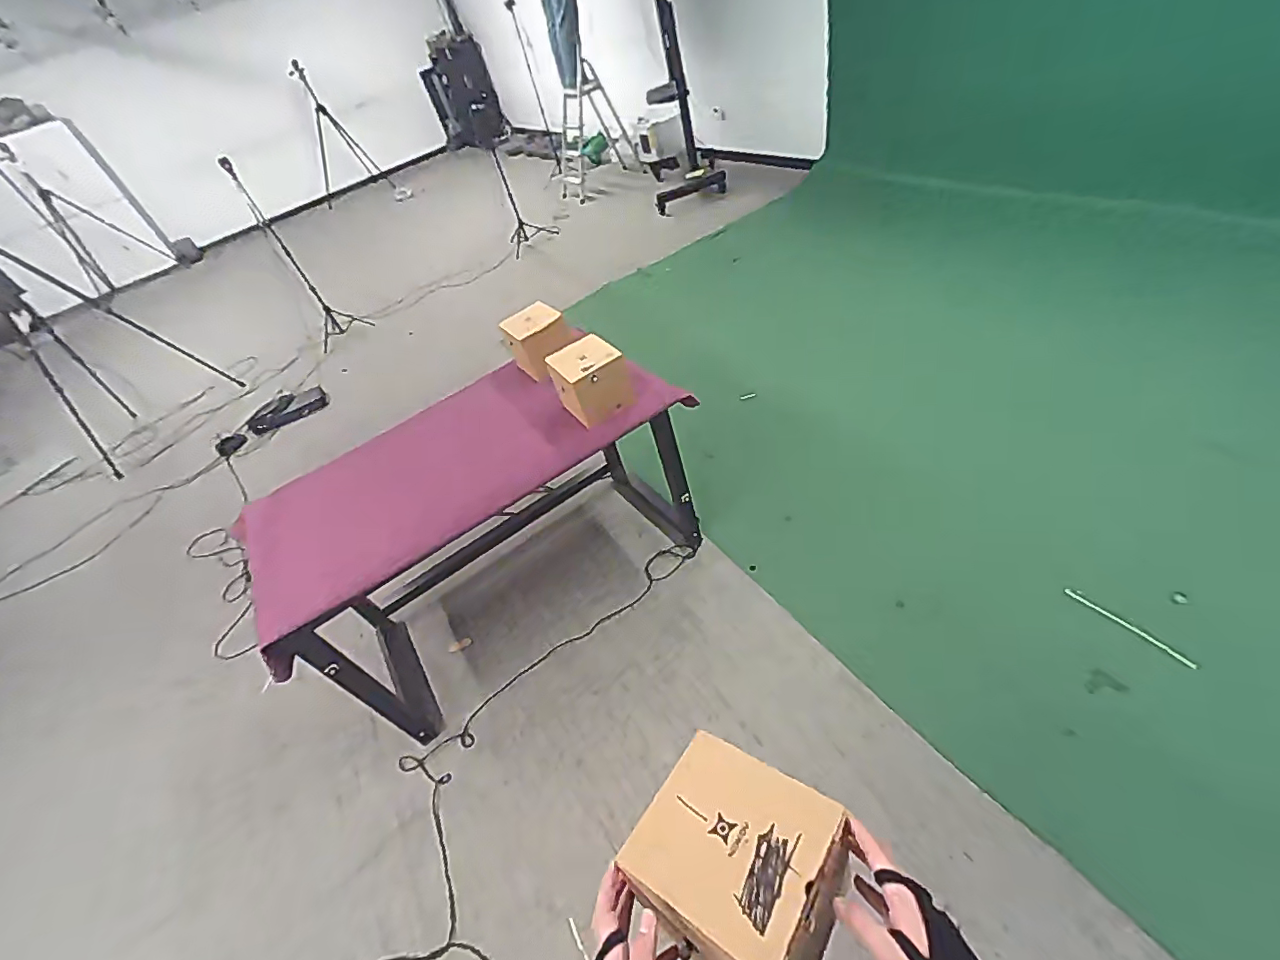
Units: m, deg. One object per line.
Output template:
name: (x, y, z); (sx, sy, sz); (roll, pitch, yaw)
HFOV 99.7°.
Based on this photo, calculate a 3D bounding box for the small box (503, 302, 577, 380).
small box: (-0.321, -0.457, 1.789); (0.168, 0.176, 0.179); (-37, 46, -13)

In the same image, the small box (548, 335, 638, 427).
small box: (-0.132, -0.281, 1.544); (0.168, 0.176, 0.179); (-34, 45, -12)
